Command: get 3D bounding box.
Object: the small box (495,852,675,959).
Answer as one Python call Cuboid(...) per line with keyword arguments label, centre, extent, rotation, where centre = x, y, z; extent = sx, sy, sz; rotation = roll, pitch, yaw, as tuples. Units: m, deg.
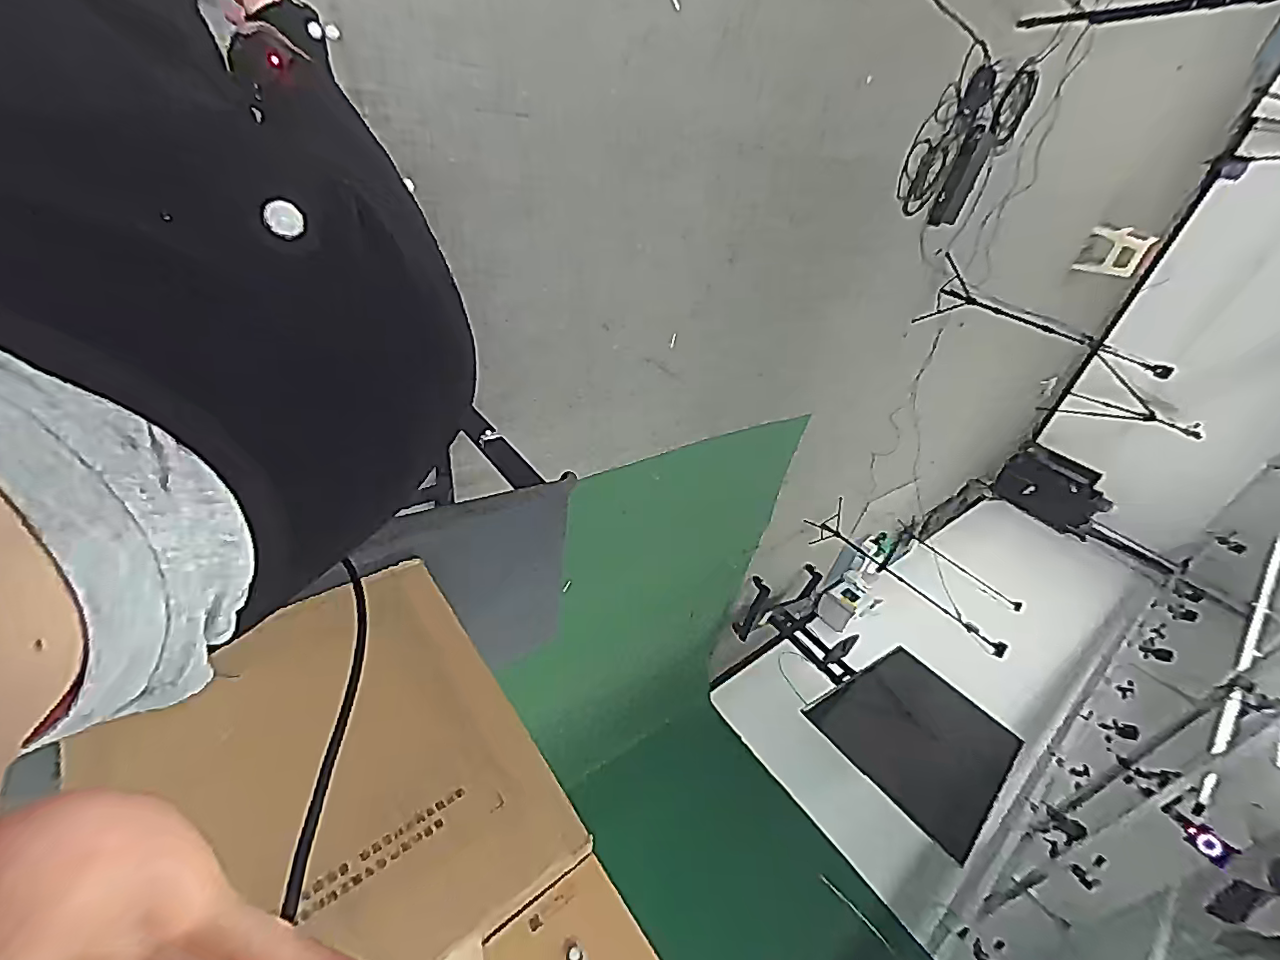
Cuboid(label="small box", centre=(-0.079, 0.640, 0.712), extent=(0.168, 0.176, 0.179), rotation=(-22, 136, -35))
